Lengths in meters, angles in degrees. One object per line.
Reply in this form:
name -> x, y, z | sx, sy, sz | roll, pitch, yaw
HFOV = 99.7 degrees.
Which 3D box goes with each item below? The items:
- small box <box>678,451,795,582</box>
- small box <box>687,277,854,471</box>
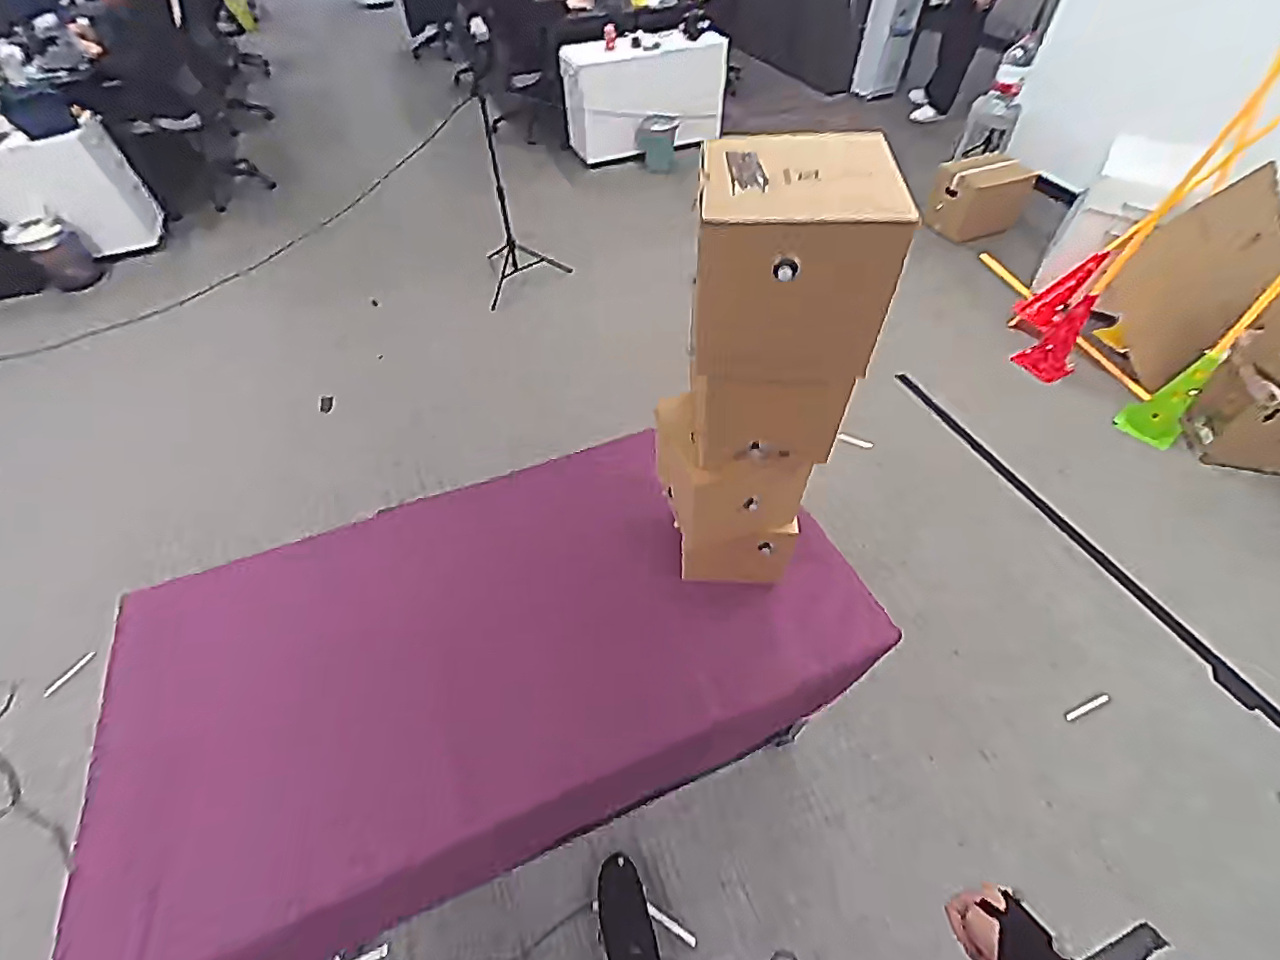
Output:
small box -> 0.158, 0.067, 0.946 | 0.179, 0.176, 0.168 | 1, 52, 3
small box -> 0.148, -0.131, 0.685 | 0.168, 0.176, 0.179 | -3, 53, 2
